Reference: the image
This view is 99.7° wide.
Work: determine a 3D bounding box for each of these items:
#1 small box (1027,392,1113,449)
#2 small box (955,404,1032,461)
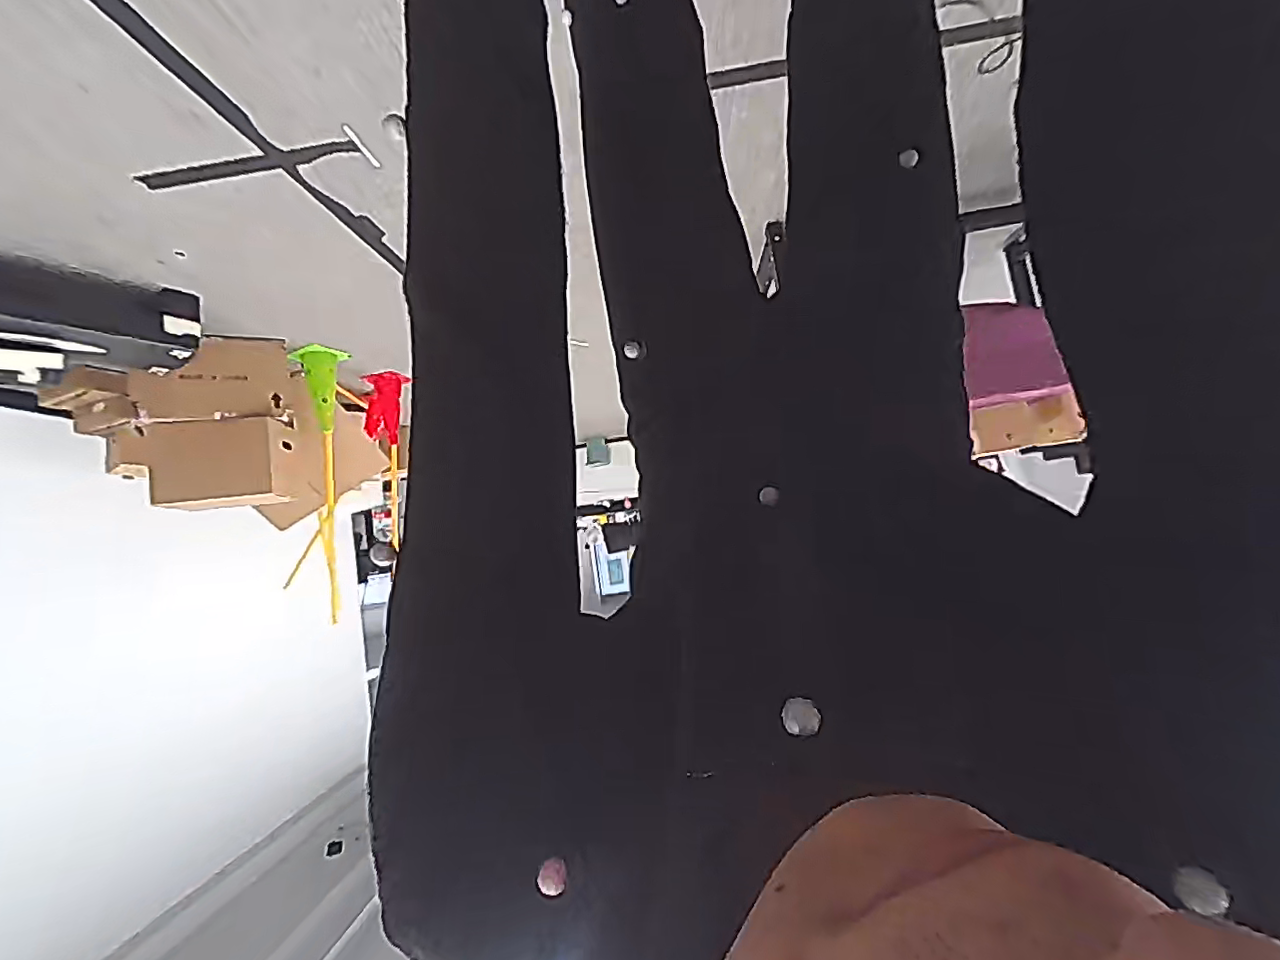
[{"bbox_3d":[1.552,-0.218,1.966,0.168,0.176,0.179,-8,175,-2],"label":"small box"},{"bbox_3d":[1.296,-0.174,1.994,0.179,0.176,0.168,-10,173,12],"label":"small box"}]
